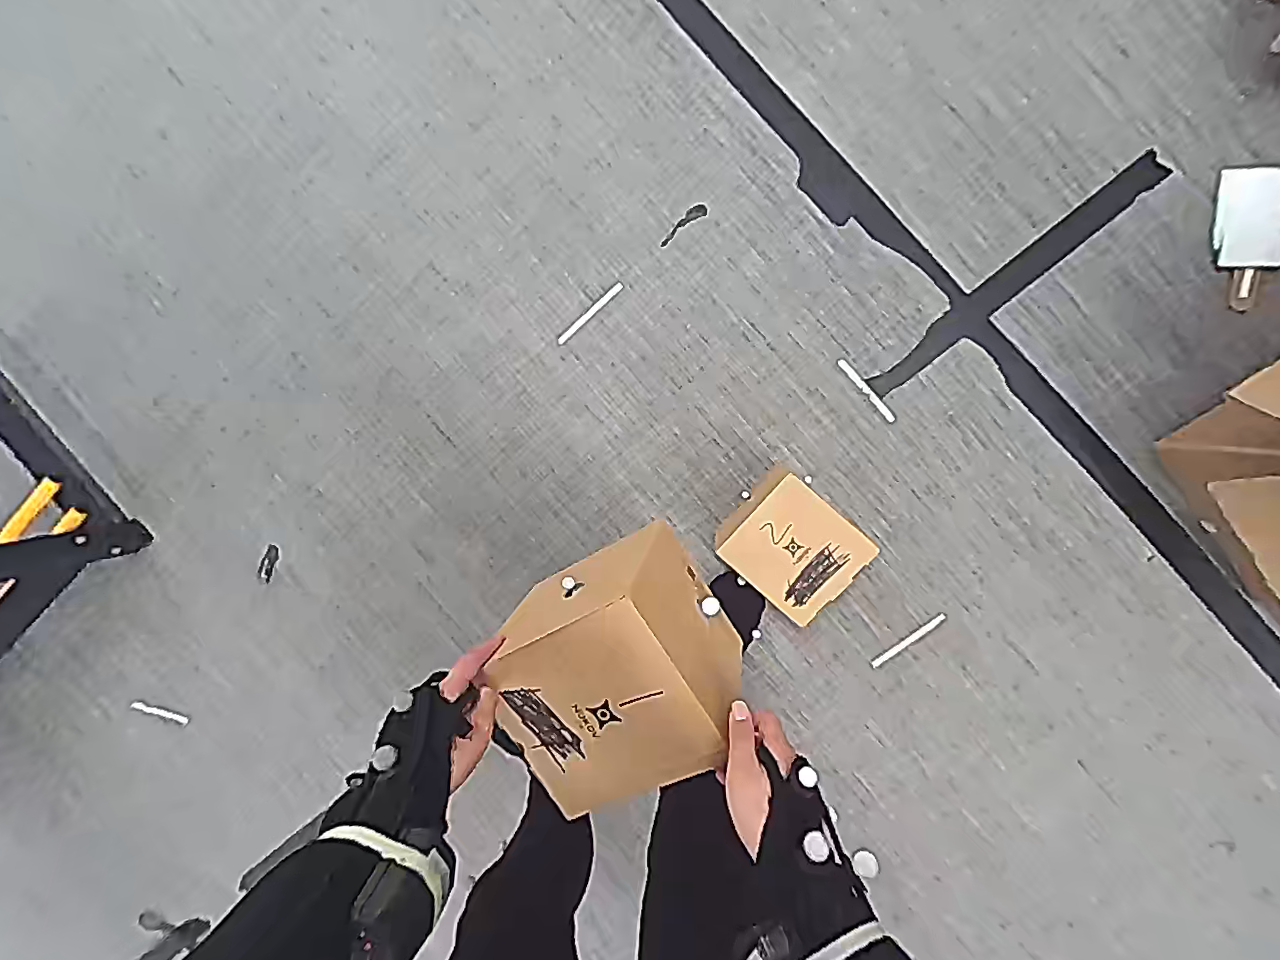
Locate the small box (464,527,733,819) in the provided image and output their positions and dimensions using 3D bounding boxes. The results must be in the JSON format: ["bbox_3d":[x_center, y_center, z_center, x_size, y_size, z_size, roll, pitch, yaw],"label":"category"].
[{"bbox_3d":[-0.023,0.173,0.519,0.179,0.176,0.168,-30,99,18],"label":"small box"}]
